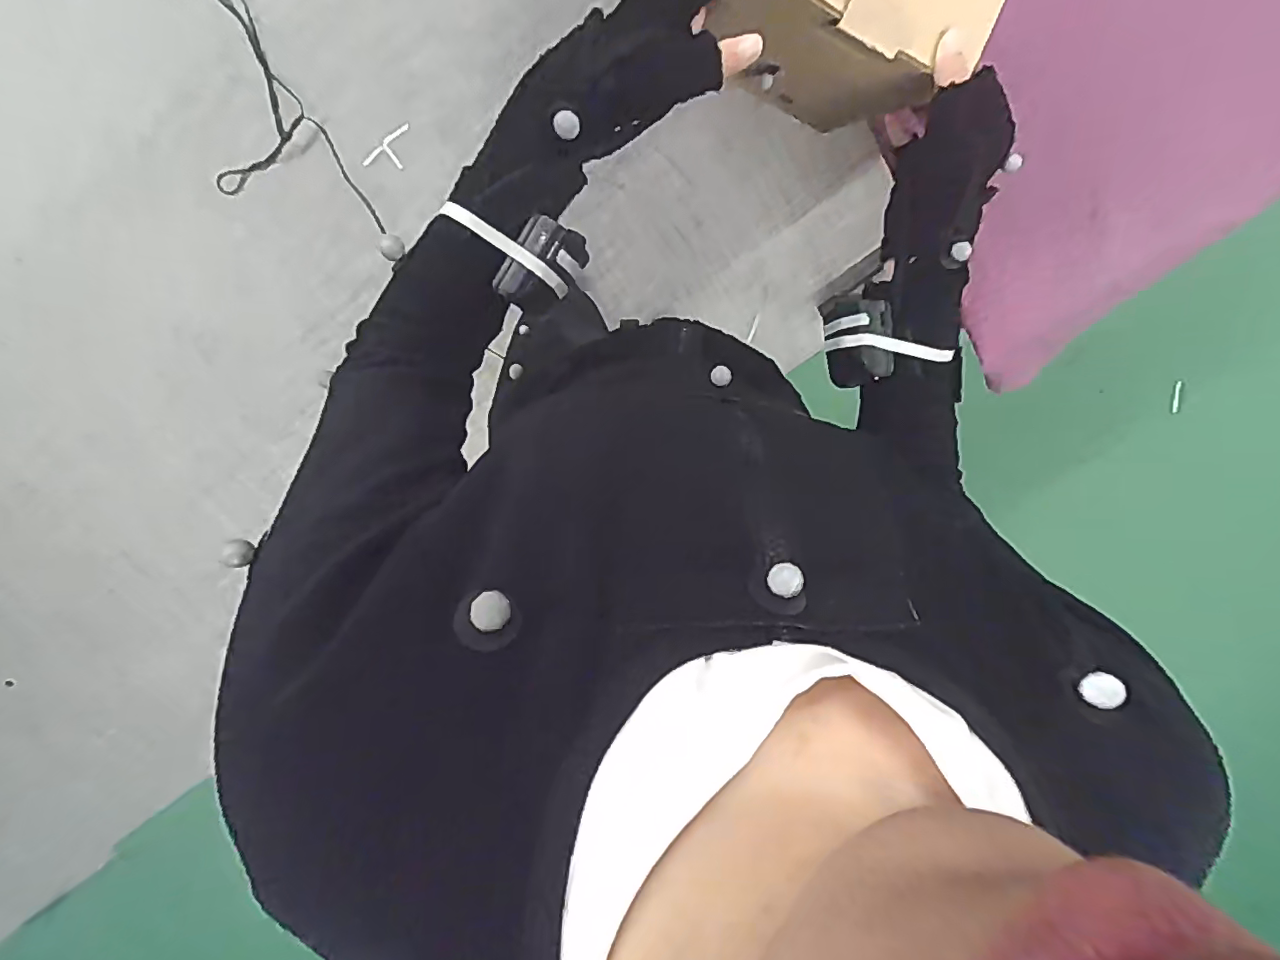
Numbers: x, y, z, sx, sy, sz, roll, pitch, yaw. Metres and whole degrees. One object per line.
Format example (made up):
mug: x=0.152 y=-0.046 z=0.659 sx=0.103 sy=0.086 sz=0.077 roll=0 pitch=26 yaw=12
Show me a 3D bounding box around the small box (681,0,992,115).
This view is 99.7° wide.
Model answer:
small box: x=0.146 y=-0.397 z=0.382 sx=0.168 sy=0.176 sz=0.179 roll=12 pitch=111 yaw=-20
